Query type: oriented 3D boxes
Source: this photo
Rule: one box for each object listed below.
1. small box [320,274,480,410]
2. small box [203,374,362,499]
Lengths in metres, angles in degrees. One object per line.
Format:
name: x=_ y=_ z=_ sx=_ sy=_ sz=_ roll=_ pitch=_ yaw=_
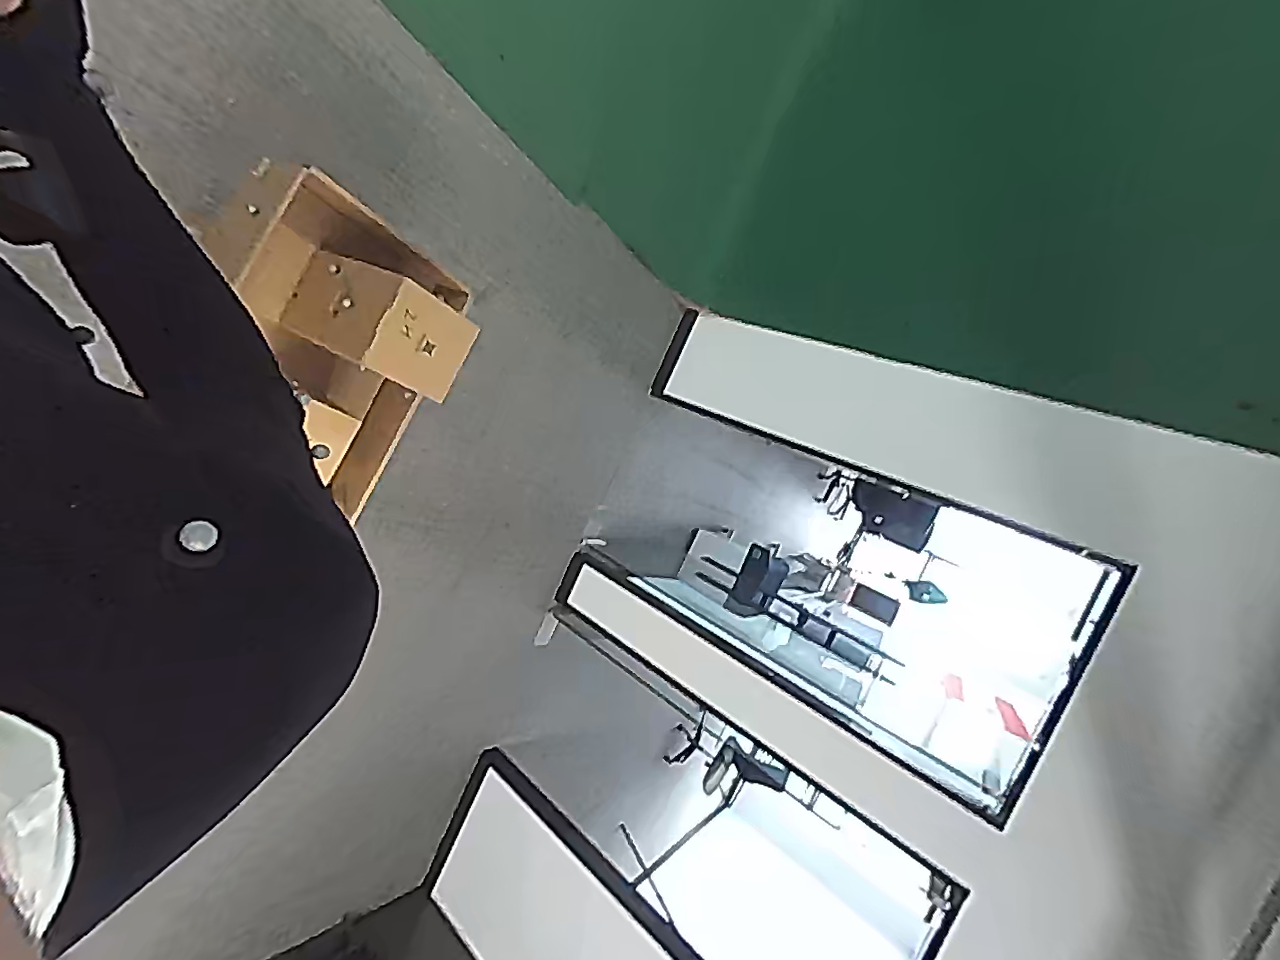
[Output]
small box: x=-0.440 y=-0.255 z=0.995 sx=0.179 sy=0.176 sz=0.168 roll=30 pitch=86 yaw=-57
small box: x=-0.697 y=-0.087 z=1.056 sx=0.168 sy=0.176 sz=0.179 roll=-62 pitch=146 yaw=-3
